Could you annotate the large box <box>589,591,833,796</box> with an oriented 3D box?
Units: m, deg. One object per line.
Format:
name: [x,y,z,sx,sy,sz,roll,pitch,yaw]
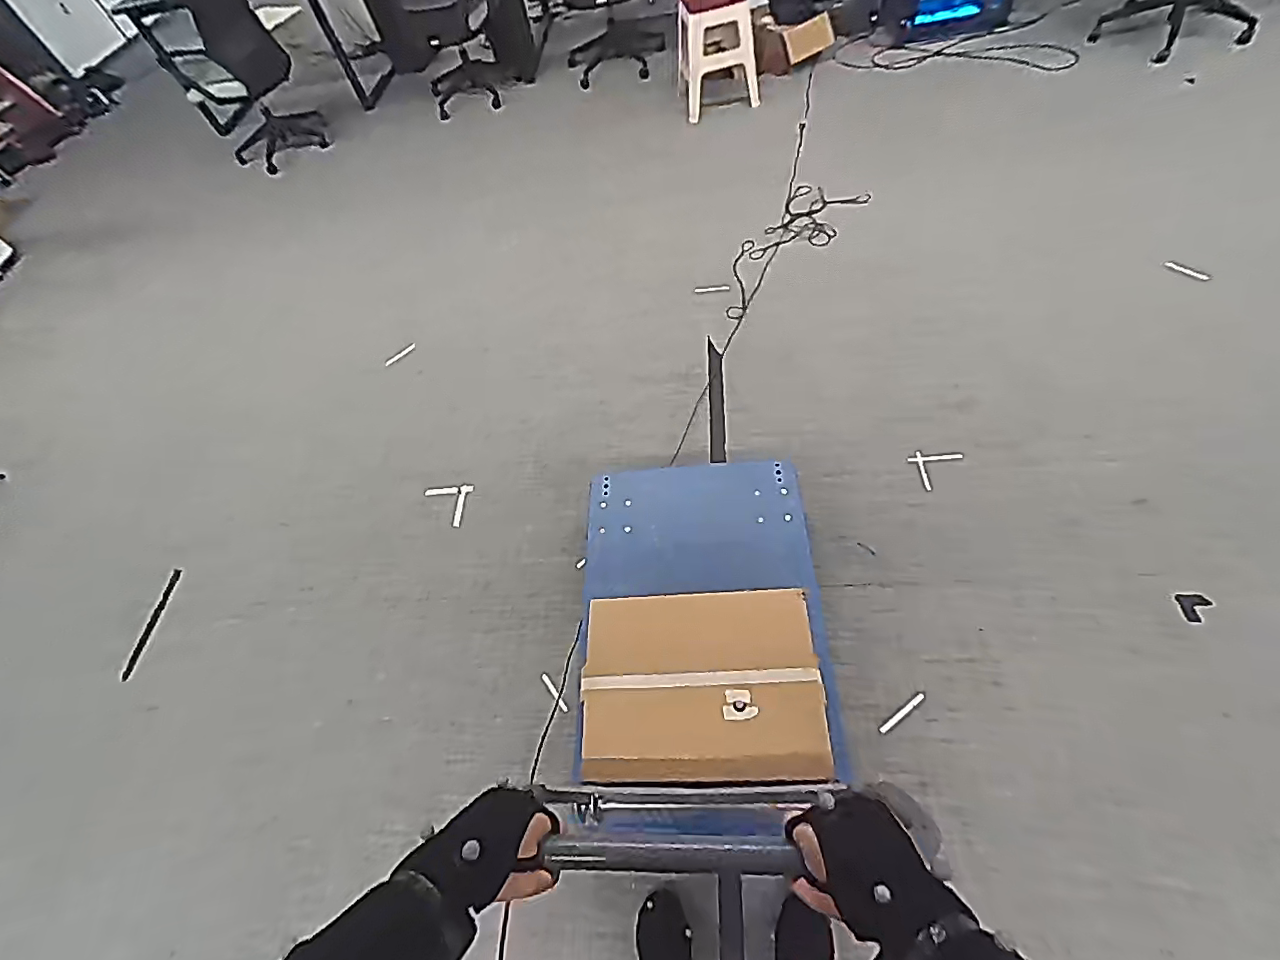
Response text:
large box: [0.128,0.436,1.075,0.408,0.320,0.320,-5,57,7]
